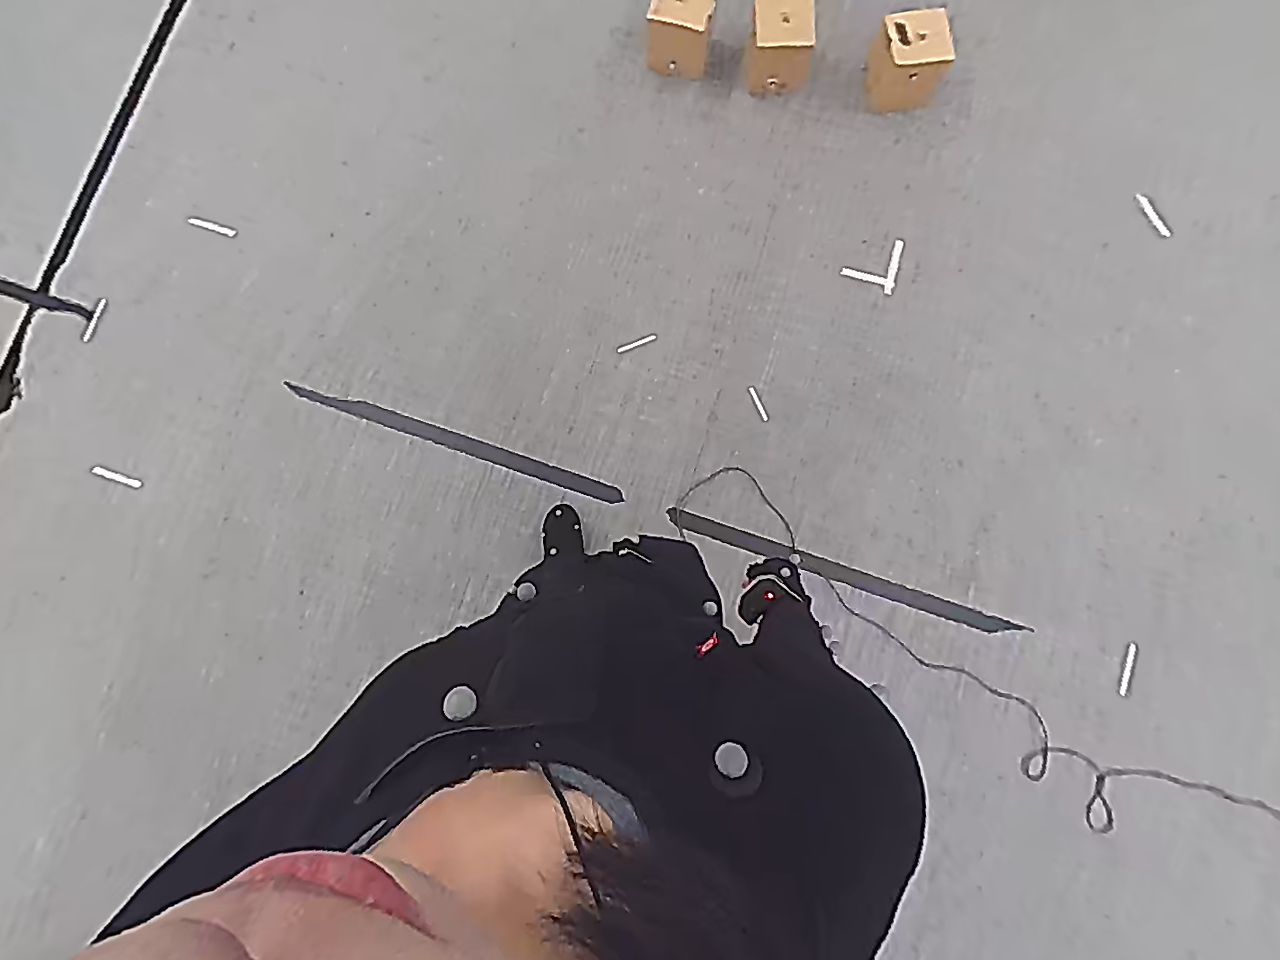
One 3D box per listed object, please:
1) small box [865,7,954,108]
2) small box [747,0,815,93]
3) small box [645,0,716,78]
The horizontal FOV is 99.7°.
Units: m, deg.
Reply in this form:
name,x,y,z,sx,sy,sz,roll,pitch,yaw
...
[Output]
name,x,y,z,sx,sy,sz,roll,pitch,yaw
small box,0.781,-1.235,1.593,0.179,0.176,0.168,-7,83,-1
small box,0.413,-1.298,1.610,0.168,0.176,0.179,-1,84,2
small box,0.122,-1.358,1.623,0.179,0.176,0.168,17,83,3
